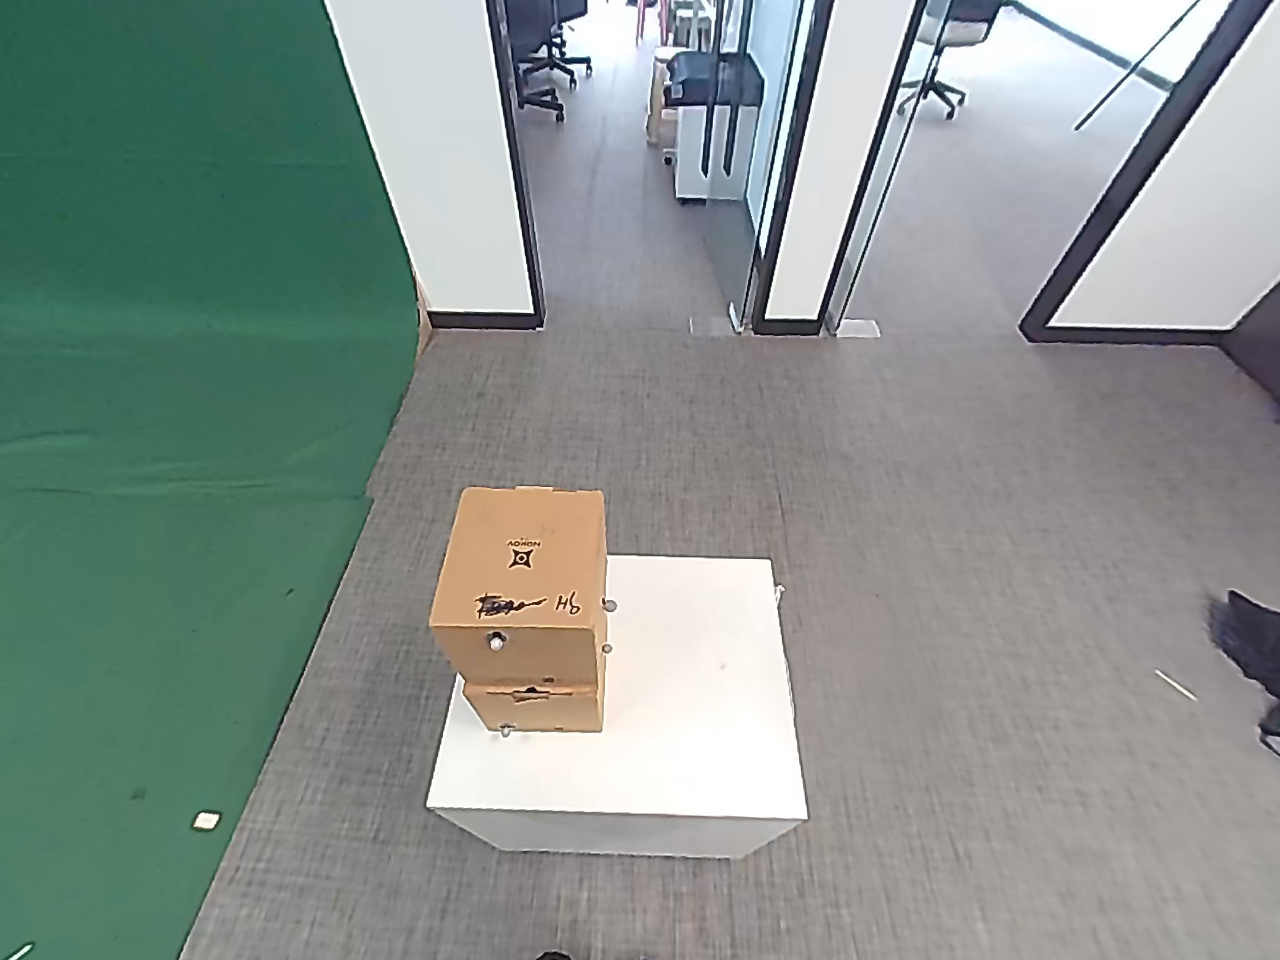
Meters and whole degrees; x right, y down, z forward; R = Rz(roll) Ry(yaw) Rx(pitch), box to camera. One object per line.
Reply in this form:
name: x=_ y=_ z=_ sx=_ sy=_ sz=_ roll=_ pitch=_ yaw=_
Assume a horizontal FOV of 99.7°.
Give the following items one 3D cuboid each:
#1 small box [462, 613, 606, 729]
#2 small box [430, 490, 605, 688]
small box: x=-0.137 y=0.244 z=0.774 sx=0.168 sy=0.176 sz=0.179 roll=1 pitch=50 yaw=-1
small box: x=-0.130 y=0.133 z=0.655 sx=0.168 sy=0.176 sz=0.179 roll=1 pitch=50 yaw=0
